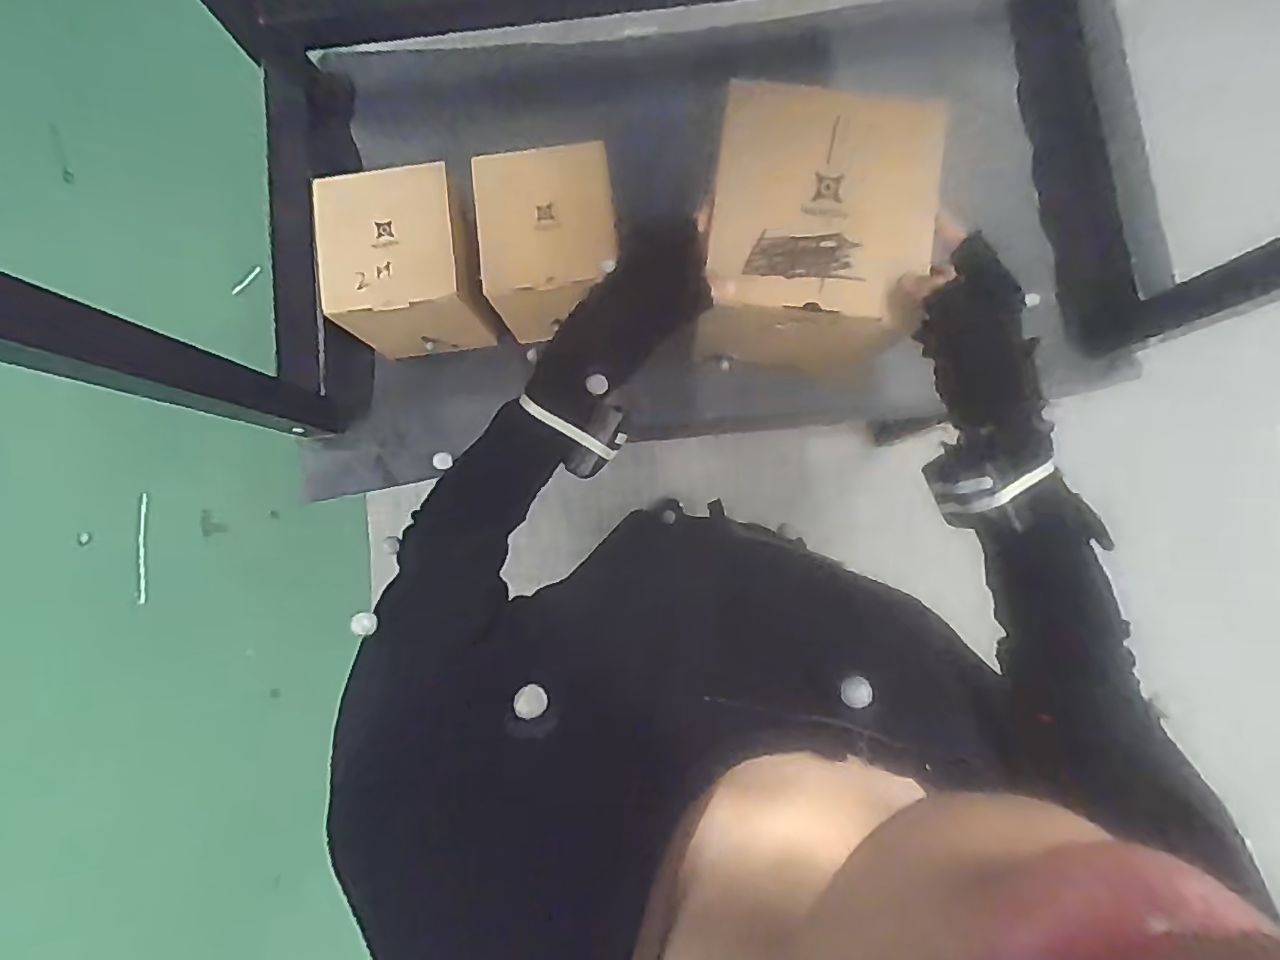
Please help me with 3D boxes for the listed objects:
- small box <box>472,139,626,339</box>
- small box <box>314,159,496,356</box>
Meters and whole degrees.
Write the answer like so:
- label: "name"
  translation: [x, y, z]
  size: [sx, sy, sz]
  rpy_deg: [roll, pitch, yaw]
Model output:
- label: "small box"
  translation: [-0.112, -0.308, 0.720]
  size: [0.168, 0.176, 0.179]
  rpy_deg: [-7, 85, 2]
- label: "small box"
  translation: [-0.302, -0.285, 0.723]
  size: [0.168, 0.176, 0.179]
  rpy_deg: [-7, 84, 2]
